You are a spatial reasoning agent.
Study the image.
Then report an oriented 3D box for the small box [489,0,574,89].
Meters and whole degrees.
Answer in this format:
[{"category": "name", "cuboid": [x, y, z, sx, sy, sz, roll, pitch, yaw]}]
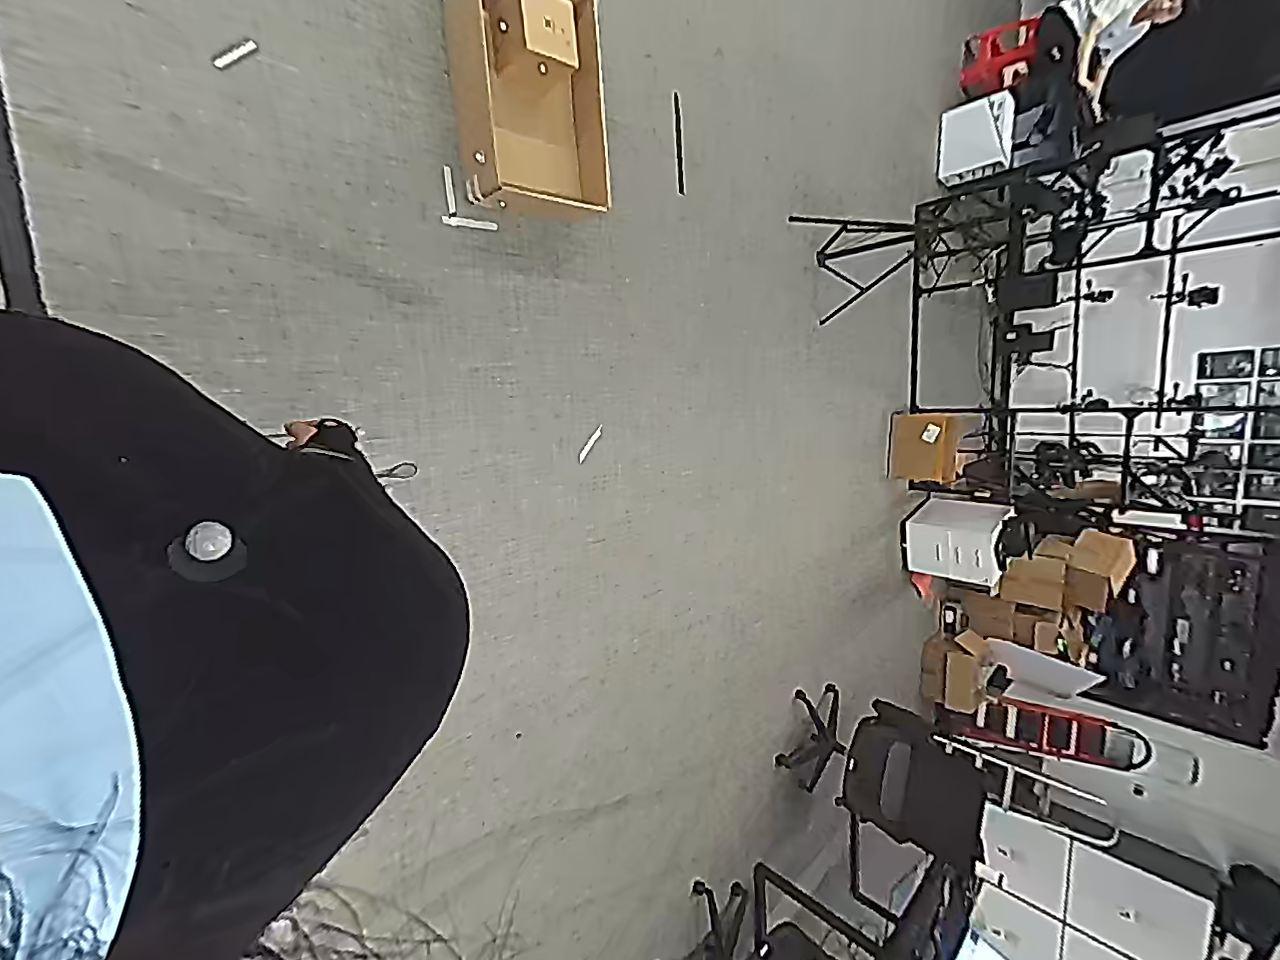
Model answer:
[{"category": "small box", "cuboid": [-0.310, -1.244, 1.524, 0.179, 0.176, 0.168, -15, 106, -42]}]
